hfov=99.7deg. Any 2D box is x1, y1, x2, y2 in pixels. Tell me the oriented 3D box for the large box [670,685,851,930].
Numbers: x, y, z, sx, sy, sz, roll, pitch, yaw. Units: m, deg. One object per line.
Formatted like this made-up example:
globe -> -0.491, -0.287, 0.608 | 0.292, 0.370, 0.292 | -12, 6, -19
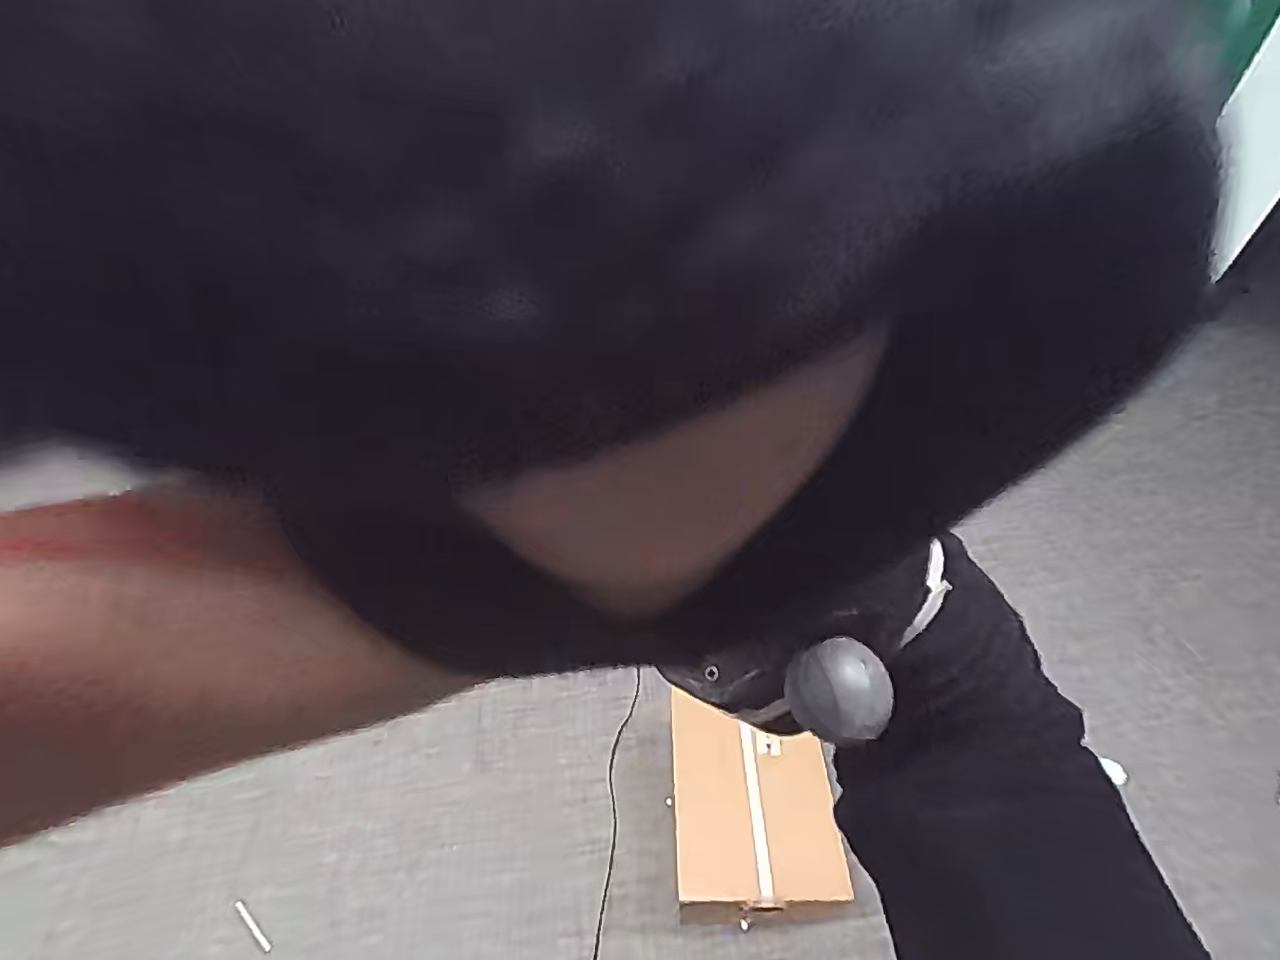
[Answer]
large box -> 0.232, 0.721, 1.202 | 0.320, 0.320, 0.408 | -1, 44, 2
